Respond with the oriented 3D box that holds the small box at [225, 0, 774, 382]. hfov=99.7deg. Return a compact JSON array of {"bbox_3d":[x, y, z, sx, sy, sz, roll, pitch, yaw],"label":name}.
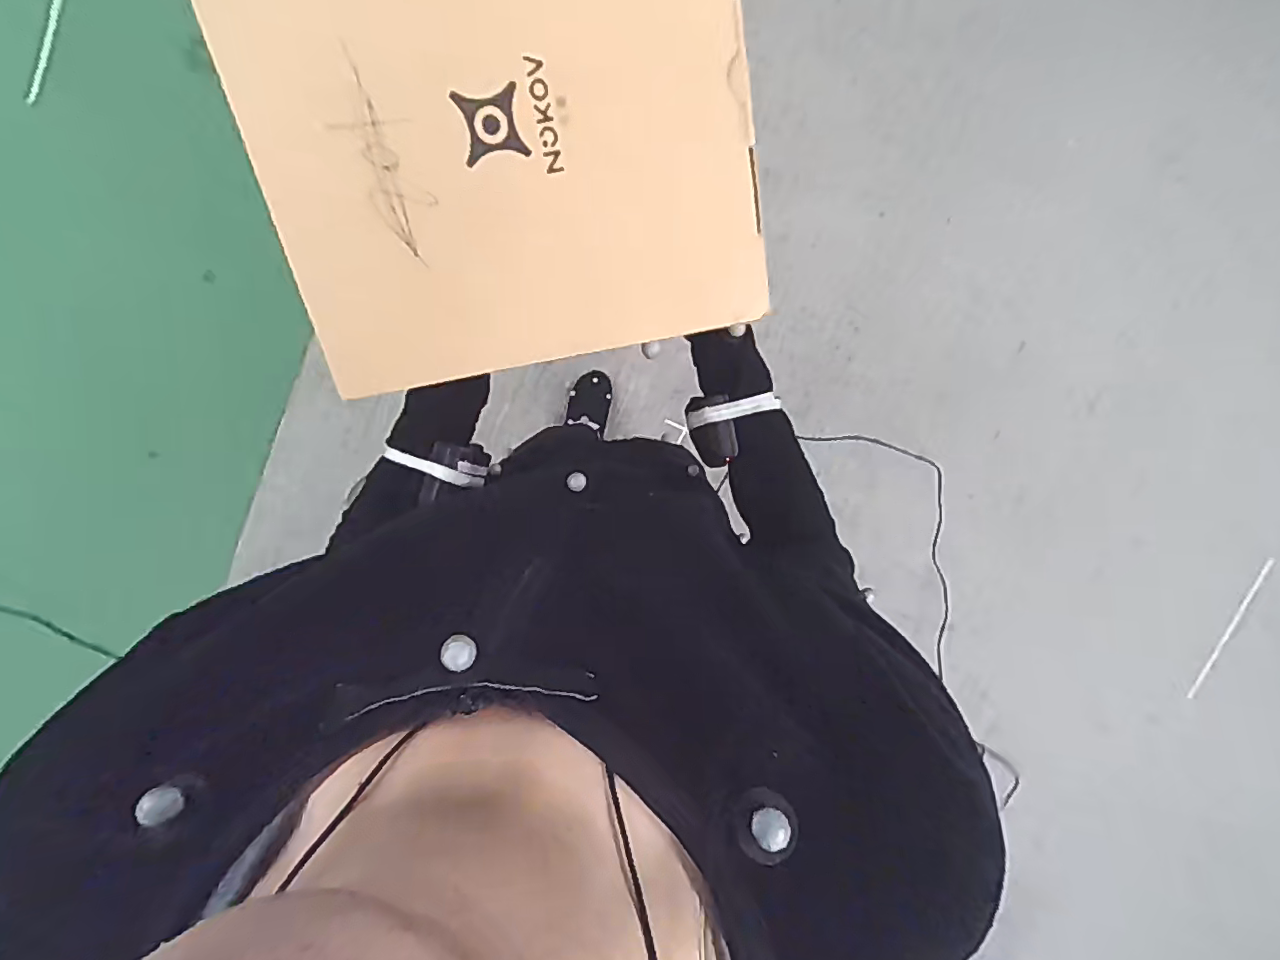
[{"bbox_3d":[-0.047,-0.154,0.266,0.179,0.176,0.168,-9,109,0],"label":"small box"}]
